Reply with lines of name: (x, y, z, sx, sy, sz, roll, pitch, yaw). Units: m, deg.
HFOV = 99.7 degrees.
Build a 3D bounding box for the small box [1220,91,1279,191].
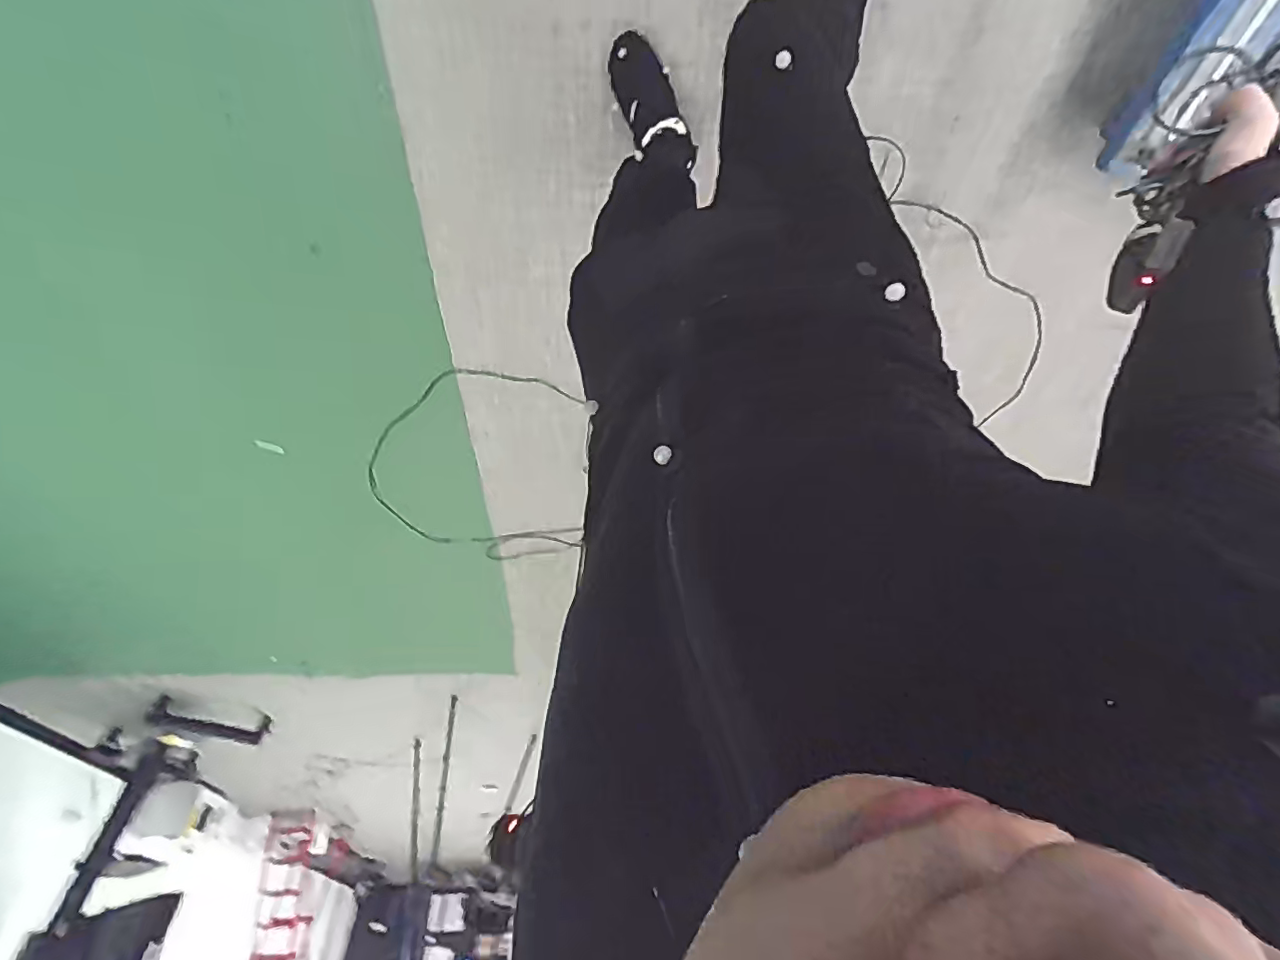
small box: (1.325, -0.658, 1.049, 0.179, 0.176, 0.168, 7, 134, -9)
